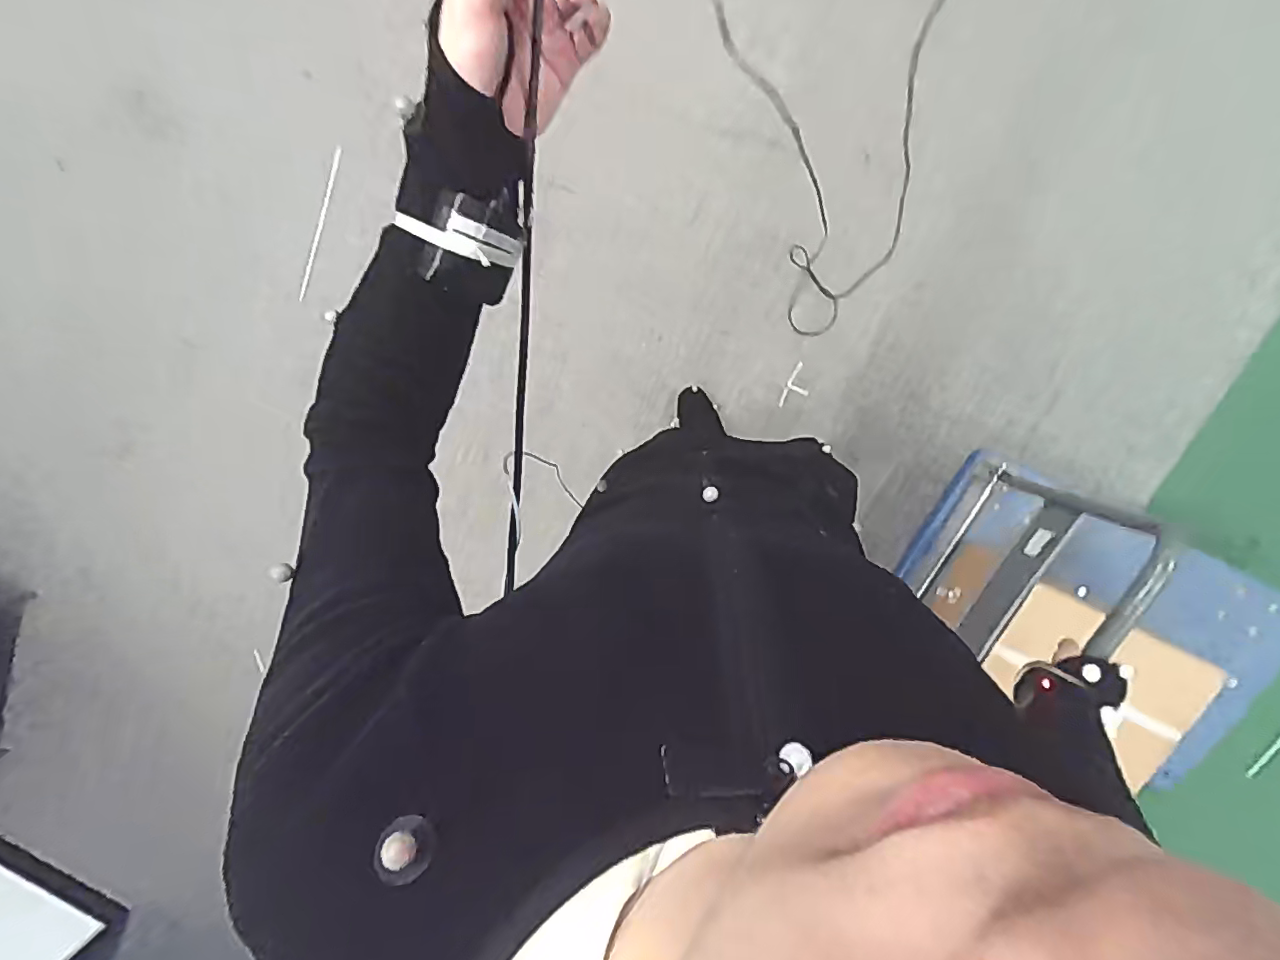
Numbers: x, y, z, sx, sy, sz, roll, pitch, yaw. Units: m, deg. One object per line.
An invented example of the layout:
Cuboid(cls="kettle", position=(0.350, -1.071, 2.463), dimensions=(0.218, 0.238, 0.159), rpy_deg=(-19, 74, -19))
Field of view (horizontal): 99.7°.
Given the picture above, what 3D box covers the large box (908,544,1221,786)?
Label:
Cuboid(cls="large box", position=(0.923, 0.397, 1.249), dimensions=(0.408, 0.320, 0.320), rpy_deg=(26, 103, 4))
